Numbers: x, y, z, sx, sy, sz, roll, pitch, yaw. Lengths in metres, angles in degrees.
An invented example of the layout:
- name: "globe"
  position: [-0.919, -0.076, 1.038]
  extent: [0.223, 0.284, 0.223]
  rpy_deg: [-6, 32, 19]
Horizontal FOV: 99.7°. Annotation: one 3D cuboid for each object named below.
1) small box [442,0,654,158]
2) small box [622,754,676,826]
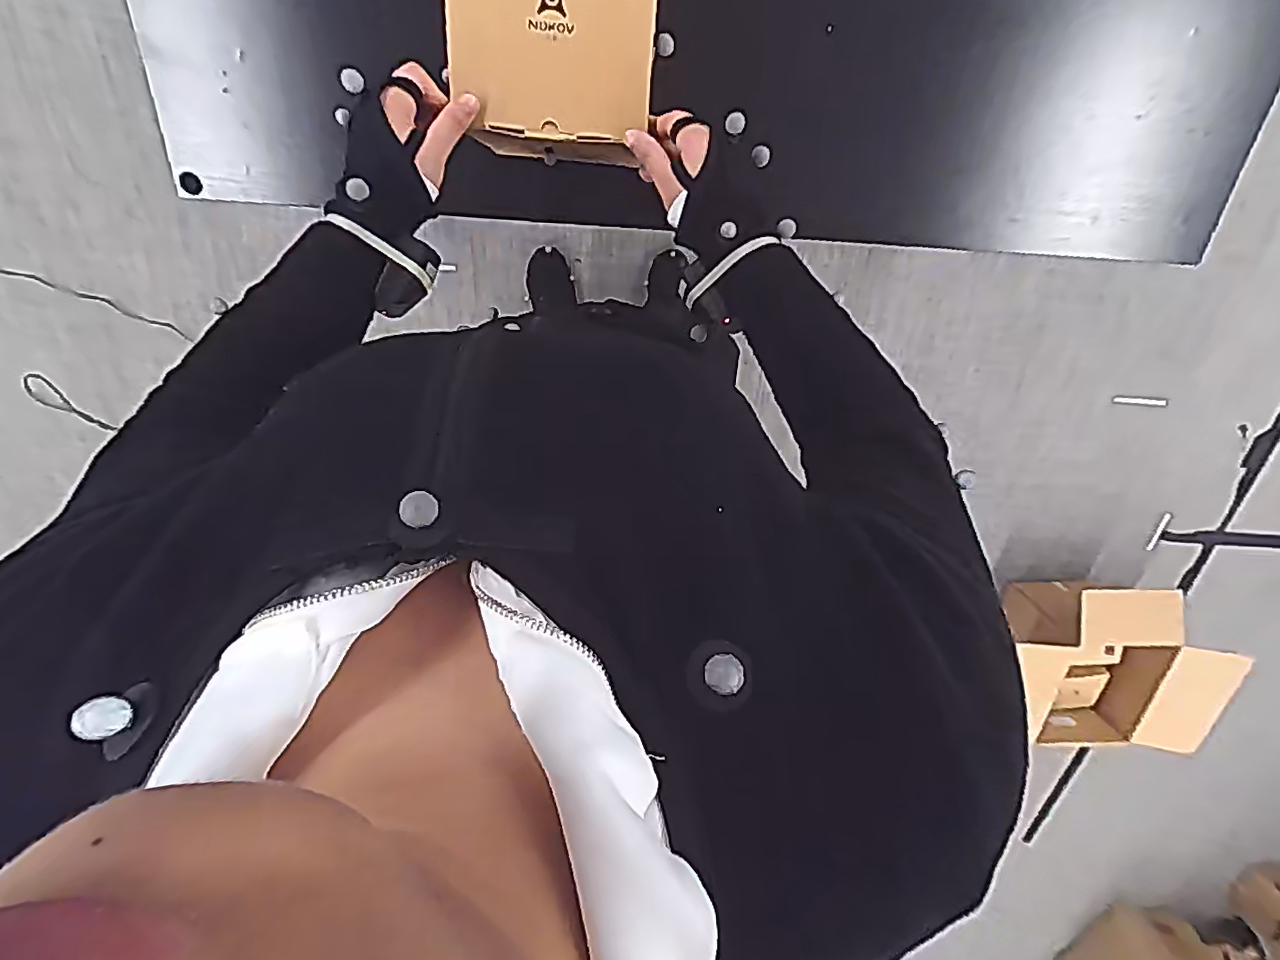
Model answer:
- name: "small box"
  position: [-0.075, -0.409, 0.491]
  extent: [0.168, 0.176, 0.179]
  rpy_deg: [3, 116, -3]
- name: "small box"
  position: [0.030, 1.146, 2.002]
  extent: [0.179, 0.176, 0.168]
  rpy_deg: [6, 114, -3]
